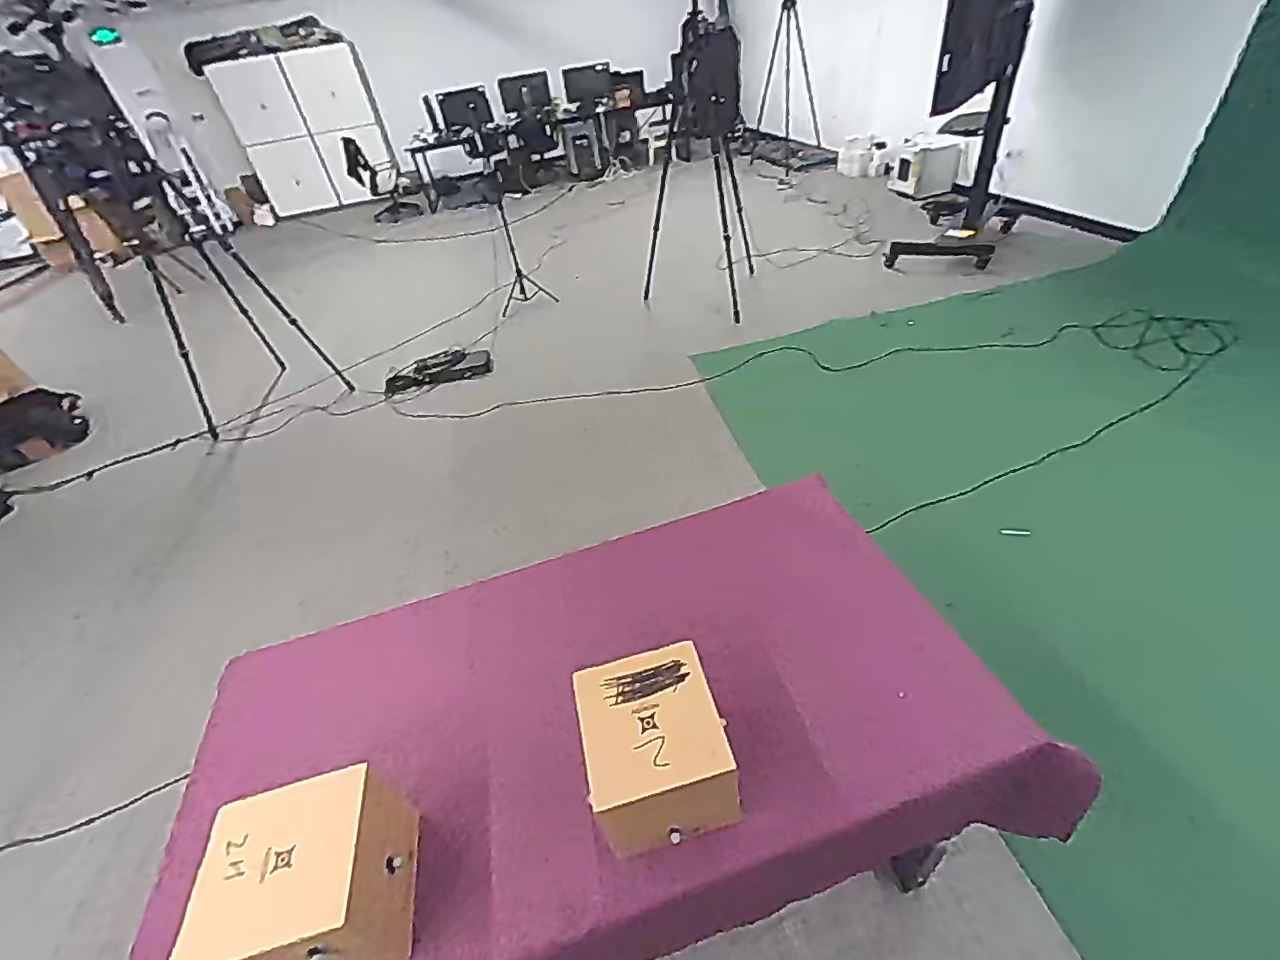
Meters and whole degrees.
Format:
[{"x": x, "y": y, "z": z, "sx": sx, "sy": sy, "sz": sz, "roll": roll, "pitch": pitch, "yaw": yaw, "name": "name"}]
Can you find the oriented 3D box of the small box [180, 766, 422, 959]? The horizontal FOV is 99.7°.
[{"x": -0.380, "y": 0.481, "z": 0.645, "sx": 0.179, "sy": 0.176, "sz": 0.168, "roll": -16, "pitch": 39, "yaw": -5, "name": "small box"}]
